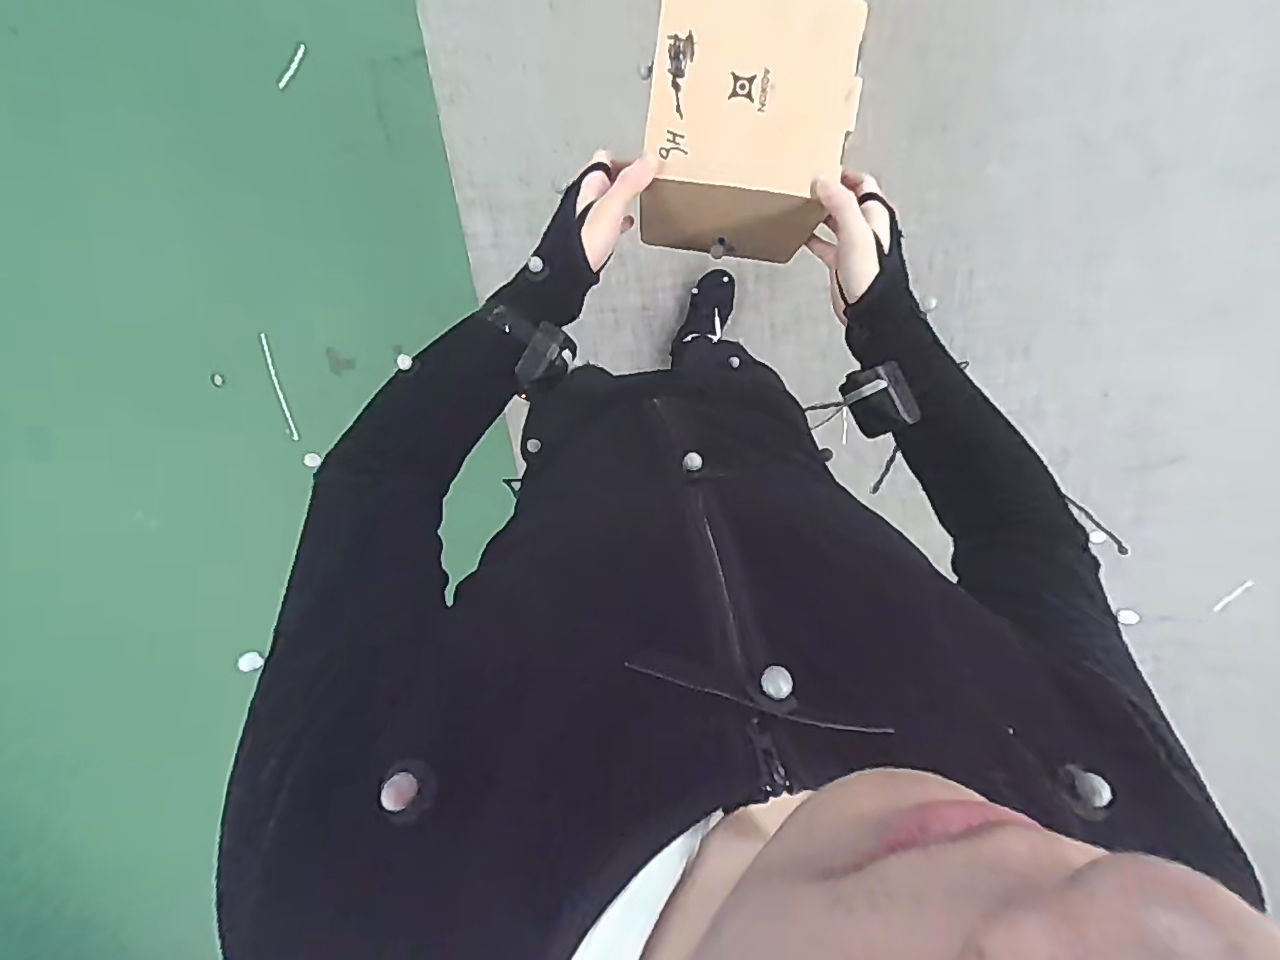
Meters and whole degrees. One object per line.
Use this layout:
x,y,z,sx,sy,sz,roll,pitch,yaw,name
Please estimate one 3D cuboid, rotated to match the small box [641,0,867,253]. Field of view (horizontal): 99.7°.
0.099,-0.347,0.550,0.179,0.176,0.168,7,94,-2,small box
